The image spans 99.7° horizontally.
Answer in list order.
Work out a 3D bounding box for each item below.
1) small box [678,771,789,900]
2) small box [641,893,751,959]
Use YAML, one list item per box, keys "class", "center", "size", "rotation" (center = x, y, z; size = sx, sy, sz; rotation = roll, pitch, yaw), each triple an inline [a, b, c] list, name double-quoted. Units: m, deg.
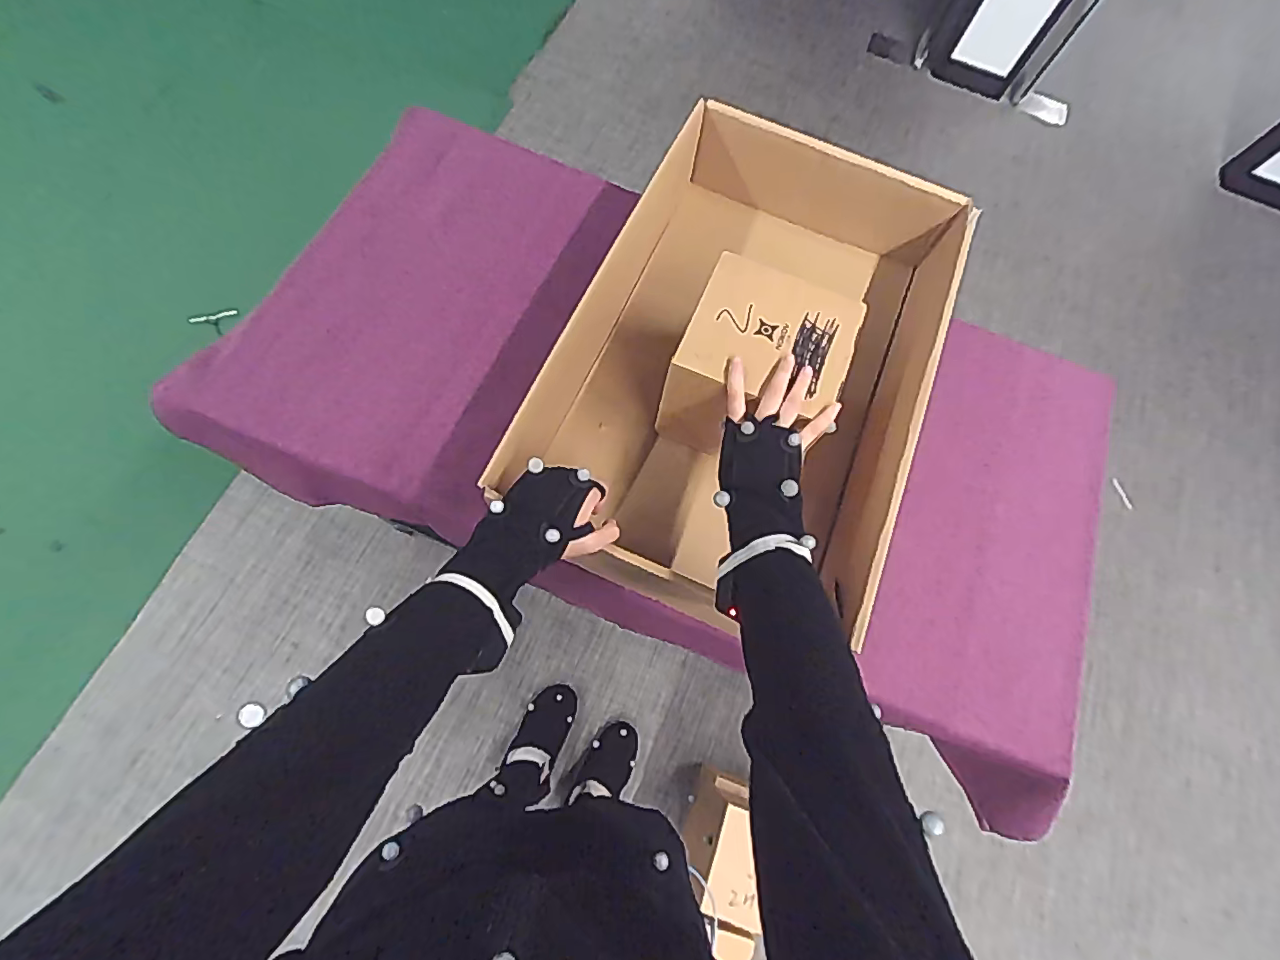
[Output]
- class: "small box"
  center: [0.197, 0.763, 1.183]
  size: [0.179, 0.176, 0.168]
  rotation: [22, 70, 3]
- class: "small box"
  center: [0.103, 0.981, 1.099]
  size: [0.179, 0.176, 0.168]
  rotation: [18, 70, 0]
